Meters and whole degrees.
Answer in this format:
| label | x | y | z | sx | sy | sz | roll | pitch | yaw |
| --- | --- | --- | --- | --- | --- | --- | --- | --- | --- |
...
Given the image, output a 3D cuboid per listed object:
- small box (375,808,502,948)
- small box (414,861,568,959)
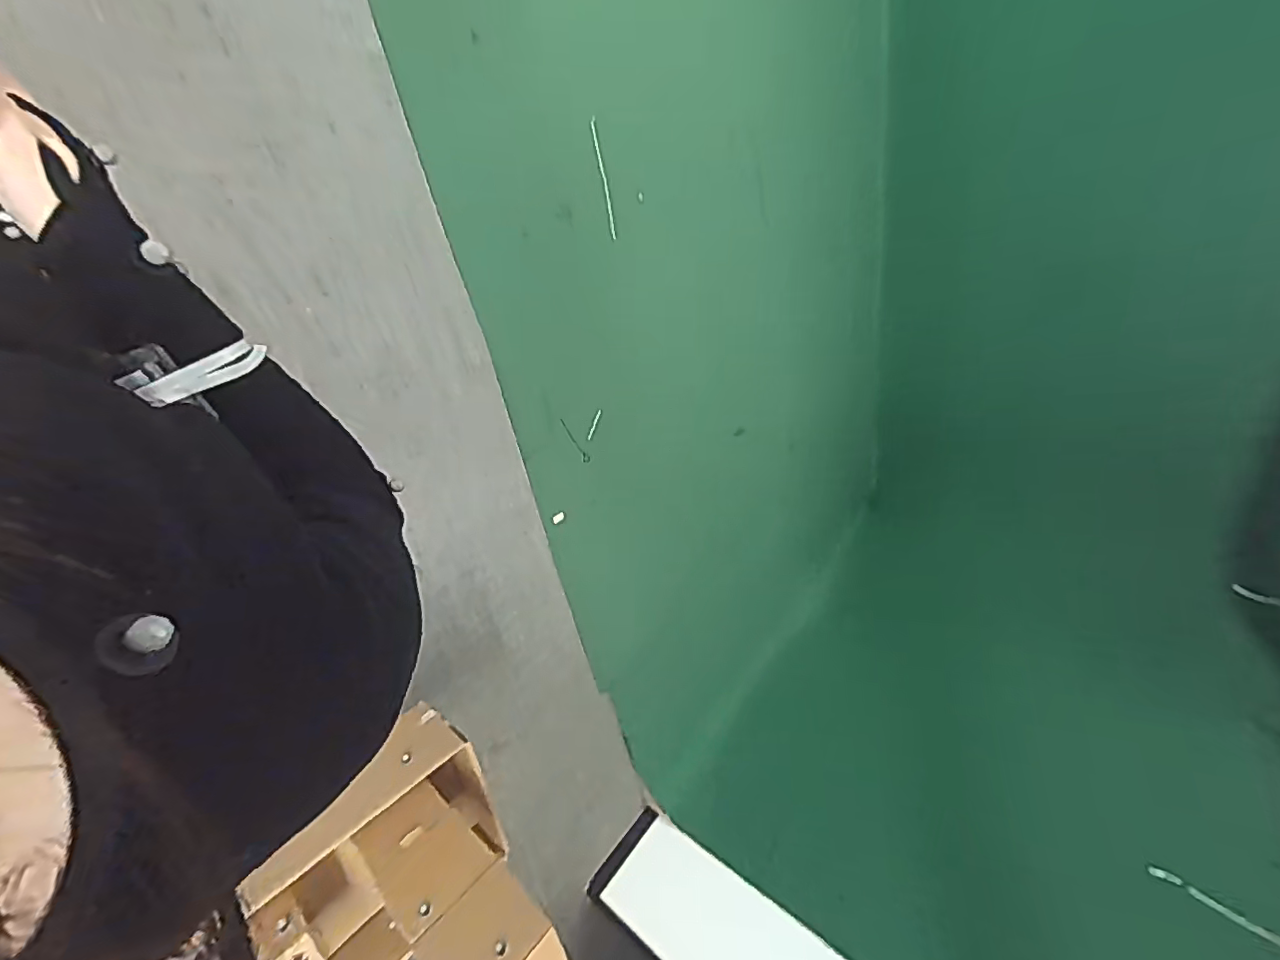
| label | x | y | z | sx | sy | sz | roll | pitch | yaw |
| --- | --- | --- | --- | --- | --- | --- | --- | --- | --- |
| small box | -0.371 | 0.786 | 1.040 | 0.179 | 0.176 | 0.168 | -31 | 122 | -38 |
| small box | -0.252 | 0.817 | 0.929 | 0.179 | 0.176 | 0.168 | -31 | 122 | -38 |
